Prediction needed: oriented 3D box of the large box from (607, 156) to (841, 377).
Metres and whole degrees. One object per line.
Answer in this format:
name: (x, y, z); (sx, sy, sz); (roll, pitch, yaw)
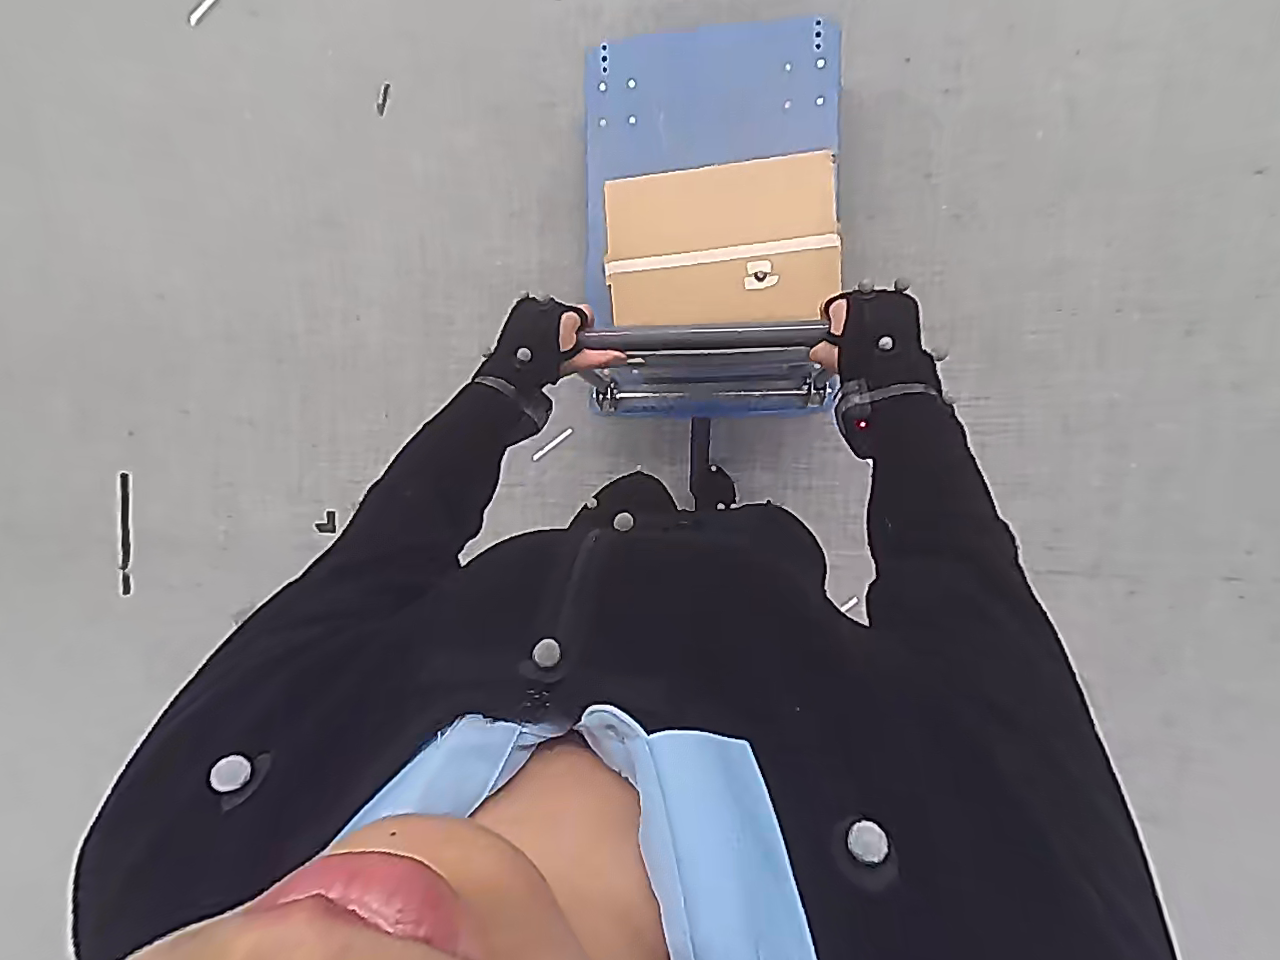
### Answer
large box: (0.164, -0.405, 1.120); (0.408, 0.320, 0.320); (-4, 93, 7)
